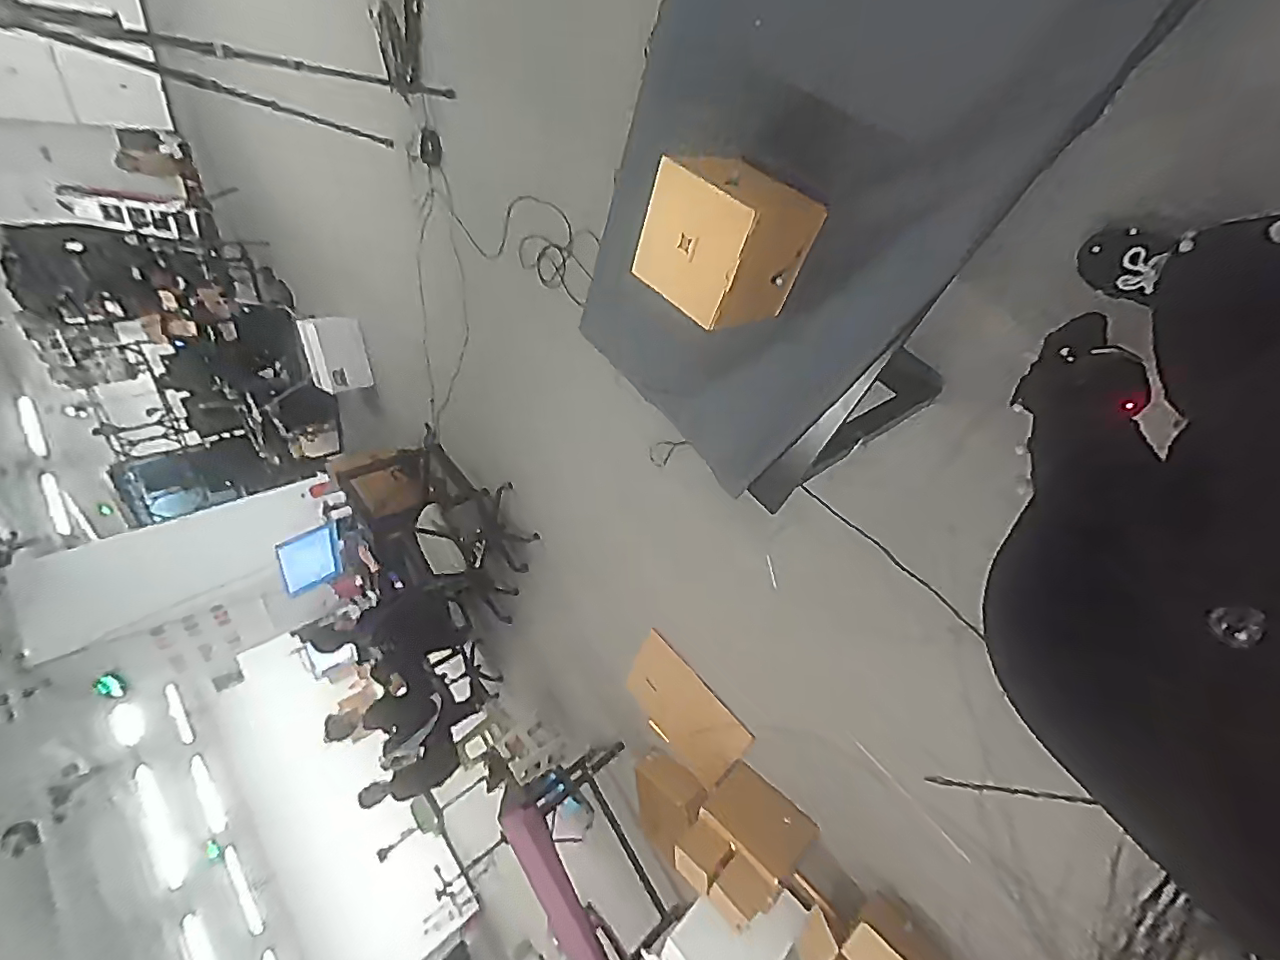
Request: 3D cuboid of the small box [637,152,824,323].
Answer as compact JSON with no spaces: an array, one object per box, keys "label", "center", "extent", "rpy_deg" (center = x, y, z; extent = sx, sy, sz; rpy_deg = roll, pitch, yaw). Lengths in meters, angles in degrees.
[{"label":"small box","center":[0.130,-0.355,0.795],"extent":[0.179,0.176,0.168],"rpy_deg":[45,136,24]}]
